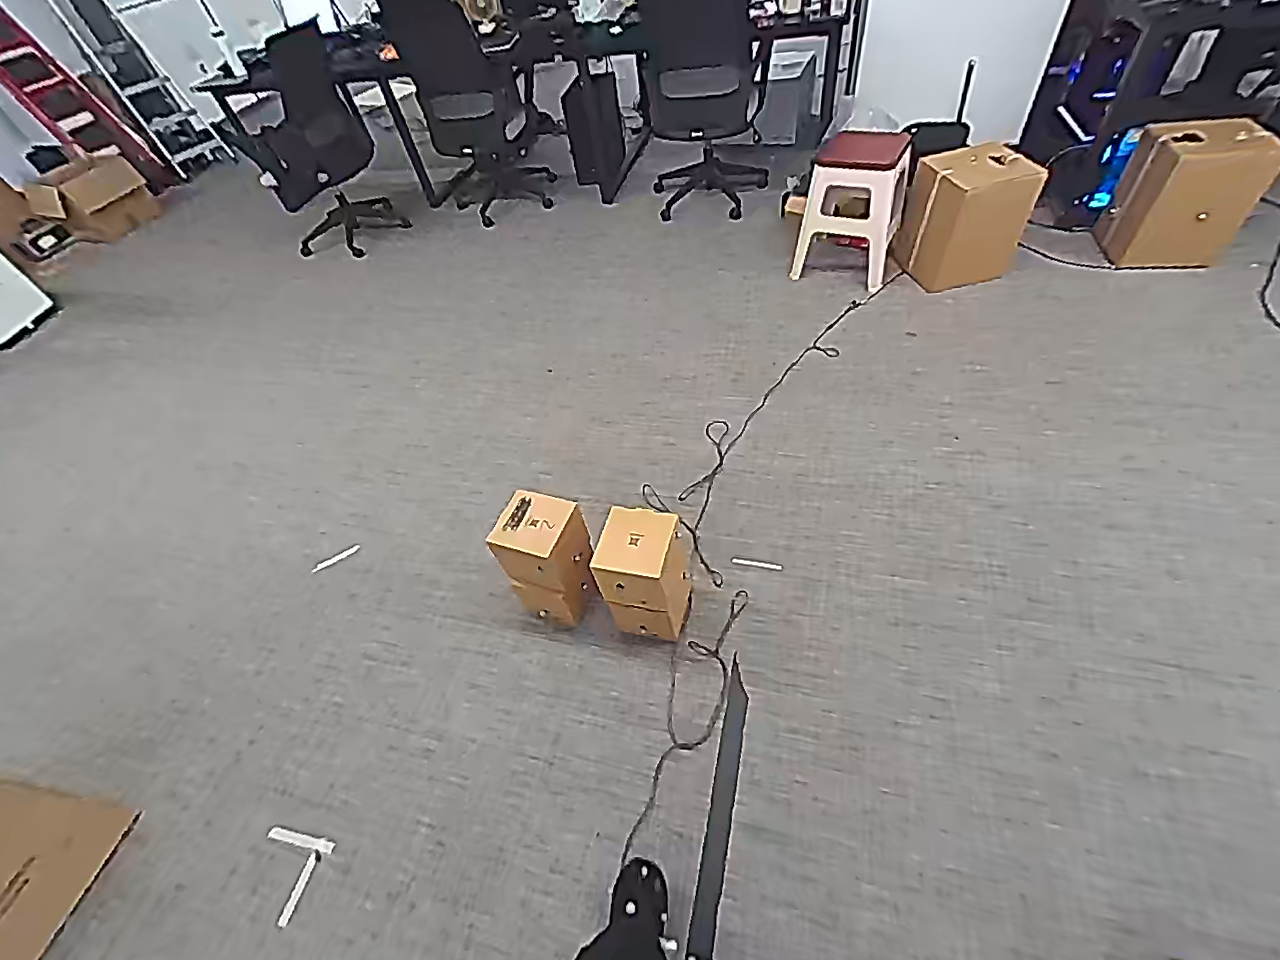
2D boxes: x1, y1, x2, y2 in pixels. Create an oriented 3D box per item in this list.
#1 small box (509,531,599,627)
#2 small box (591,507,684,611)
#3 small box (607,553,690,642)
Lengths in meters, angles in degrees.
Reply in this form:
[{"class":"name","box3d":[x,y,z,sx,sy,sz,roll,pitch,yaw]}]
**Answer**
[{"class":"small box","box3d":[-0.224,0.271,1.477,0.168,0.176,0.179,11,54,20]},{"class":"small box","box3d":[0.003,0.190,1.286,0.168,0.176,0.179,6,51,17]},{"class":"small box","box3d":[0.031,0.295,1.407,0.168,0.176,0.179,6,52,18]}]
